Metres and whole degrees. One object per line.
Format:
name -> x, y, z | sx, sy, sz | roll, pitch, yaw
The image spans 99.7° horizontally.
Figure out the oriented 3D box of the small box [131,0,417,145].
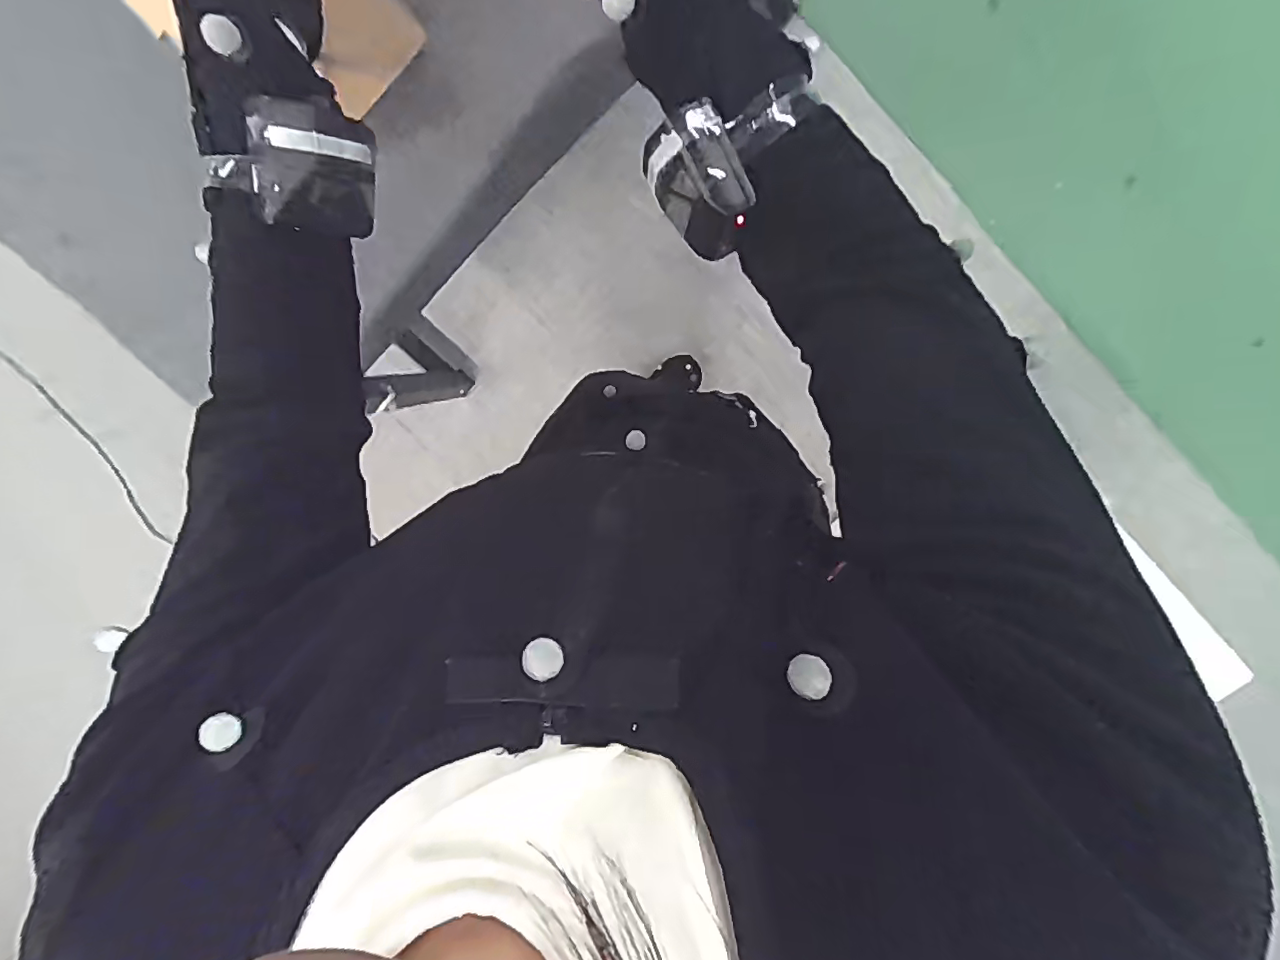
small box -> -0.358, -0.475, 0.525 | 0.179, 0.176, 0.168 | -41, 97, 12
